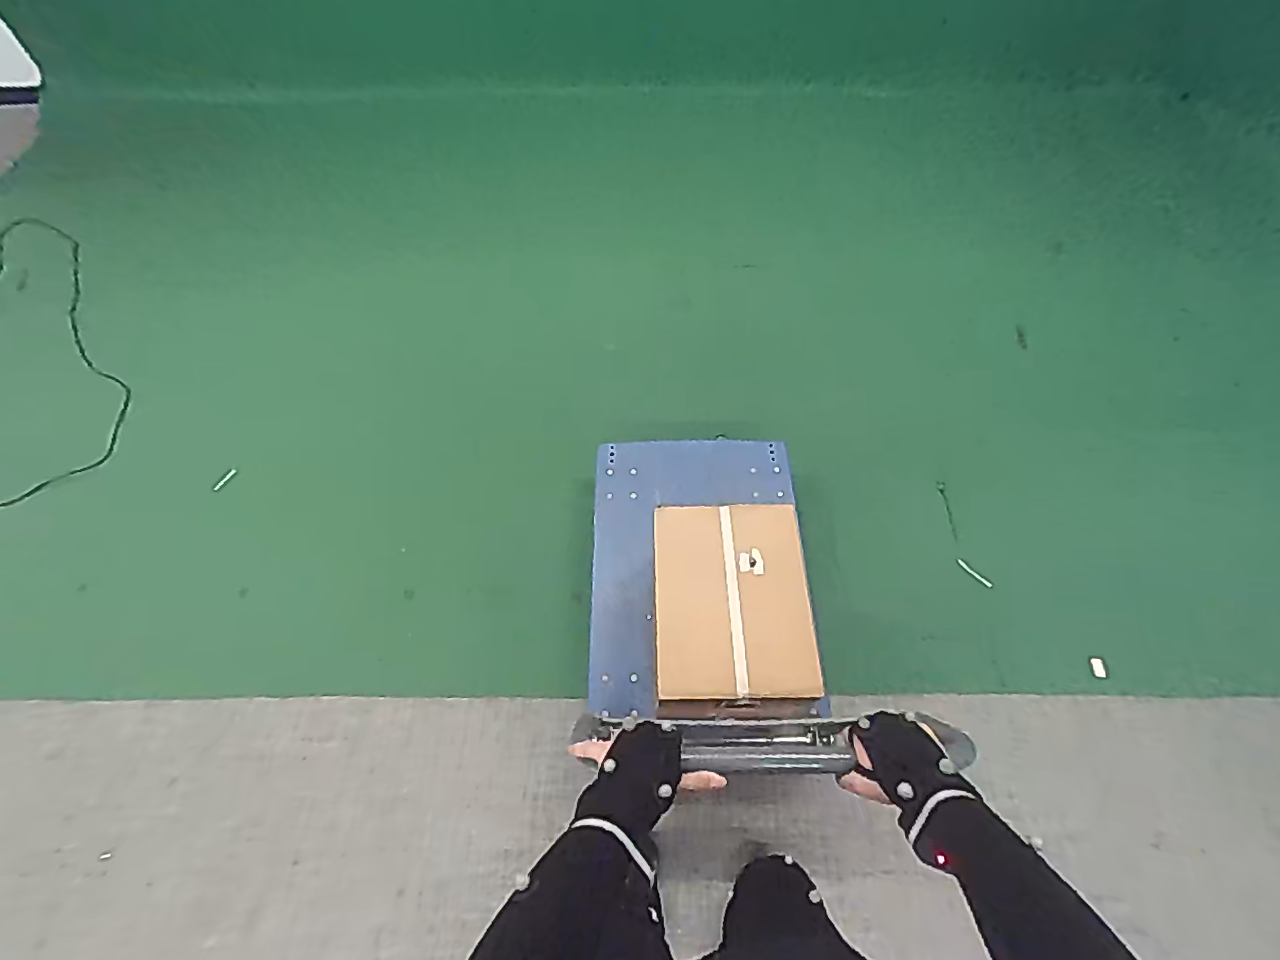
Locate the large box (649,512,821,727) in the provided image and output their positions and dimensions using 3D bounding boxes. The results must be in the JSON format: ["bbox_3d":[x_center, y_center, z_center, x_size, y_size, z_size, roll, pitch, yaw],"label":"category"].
[{"bbox_3d":[0.184,0.324,1.237,0.320,0.320,0.408,-1,59,-1],"label":"large box"}]
